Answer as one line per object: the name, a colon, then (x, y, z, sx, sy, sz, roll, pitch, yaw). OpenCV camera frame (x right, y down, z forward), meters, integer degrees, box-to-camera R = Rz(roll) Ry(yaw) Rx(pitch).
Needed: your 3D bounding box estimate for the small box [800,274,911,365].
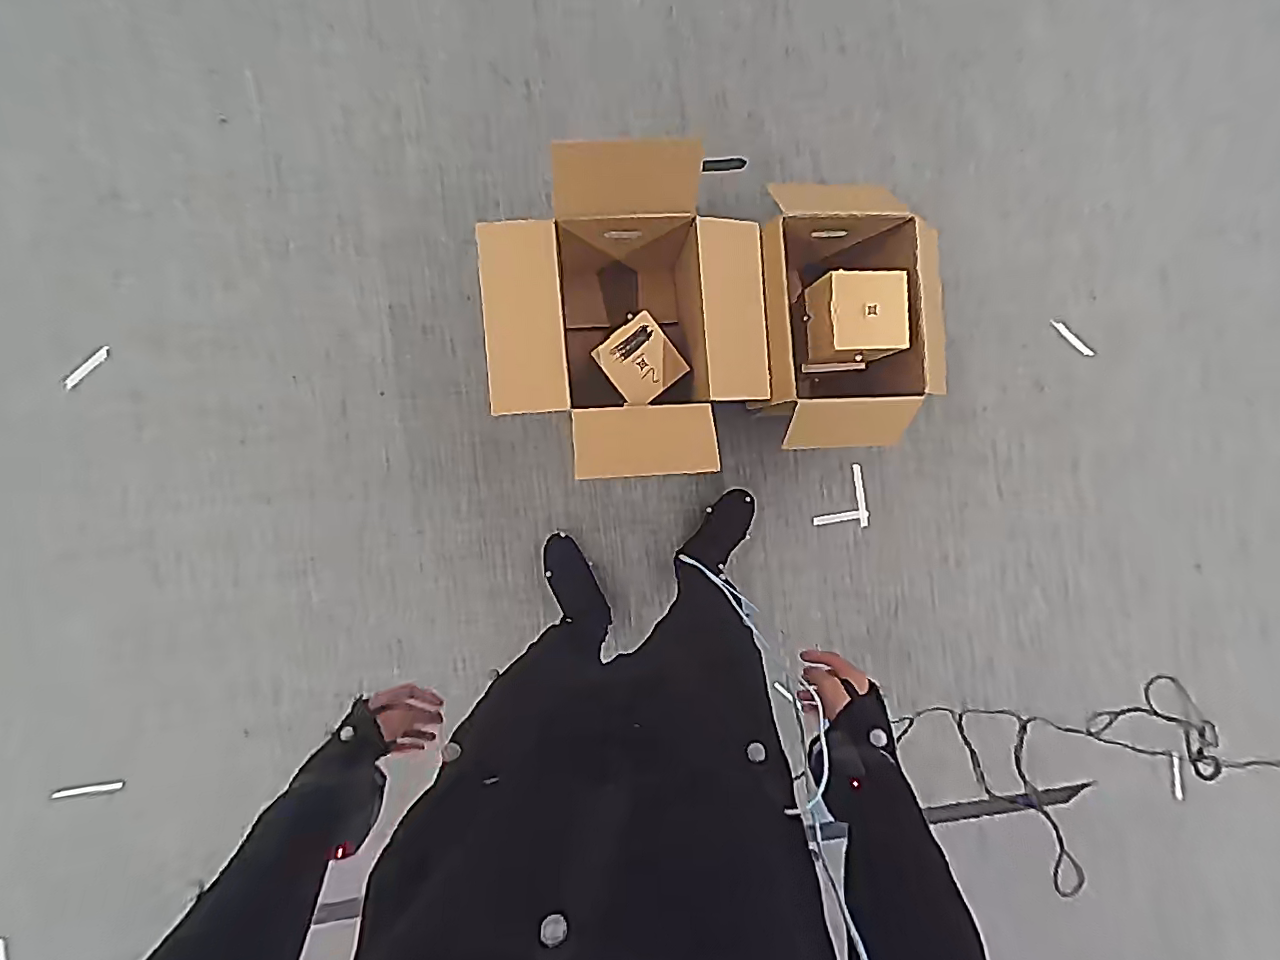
small box: (0.480, -0.356, 1.219, 0.179, 0.176, 0.168, -3, 92, -6)
